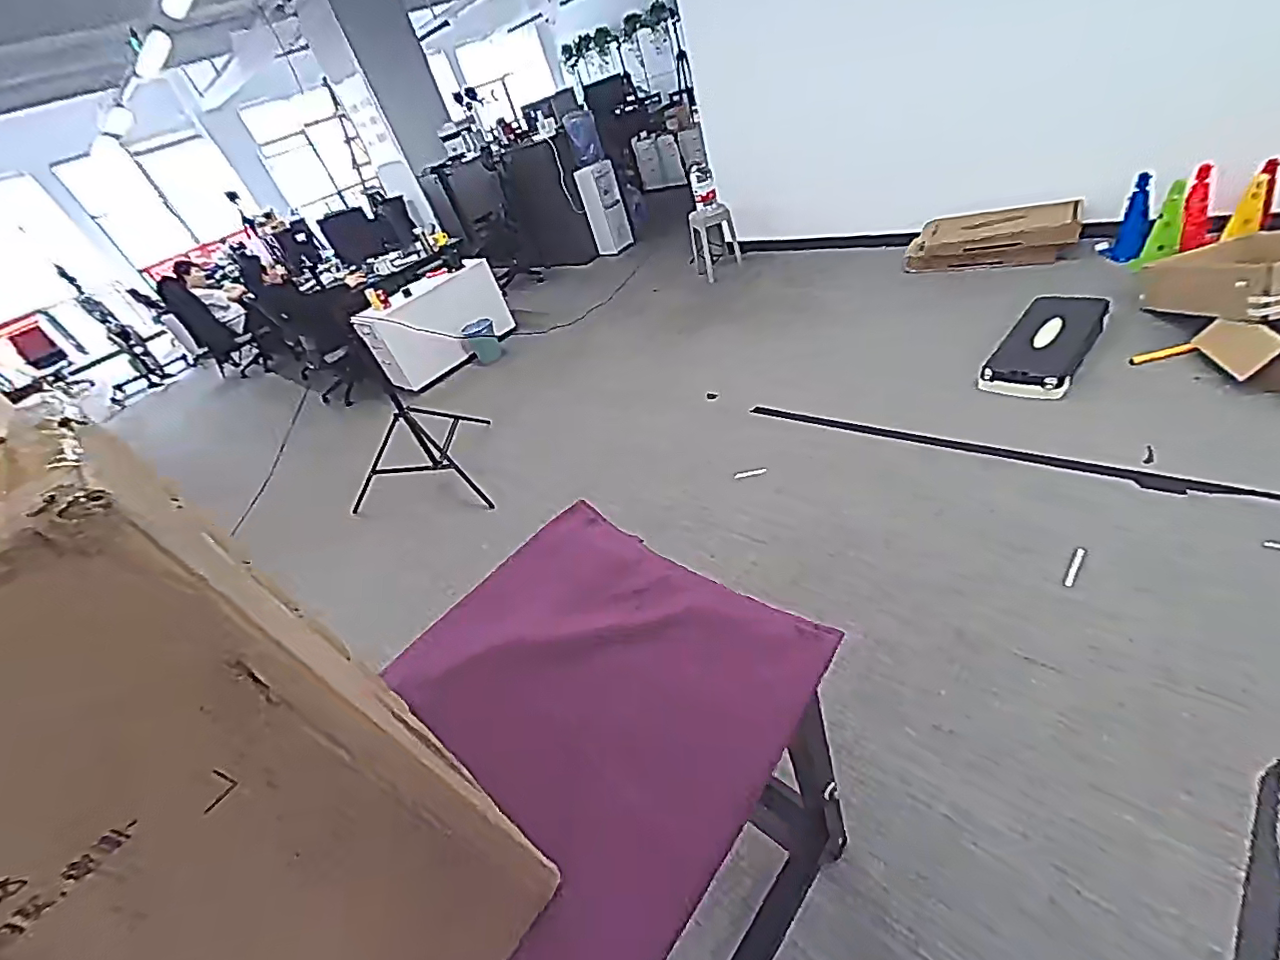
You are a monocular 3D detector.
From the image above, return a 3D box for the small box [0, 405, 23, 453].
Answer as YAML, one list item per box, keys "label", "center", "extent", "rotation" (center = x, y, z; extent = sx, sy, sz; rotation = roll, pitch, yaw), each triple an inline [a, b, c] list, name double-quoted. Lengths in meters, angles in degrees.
- label: "small box"
  center: [-0.567, -0.041, 0.336]
  extent: [0.168, 0.176, 0.179]
  rotation: [17, 51, 41]
